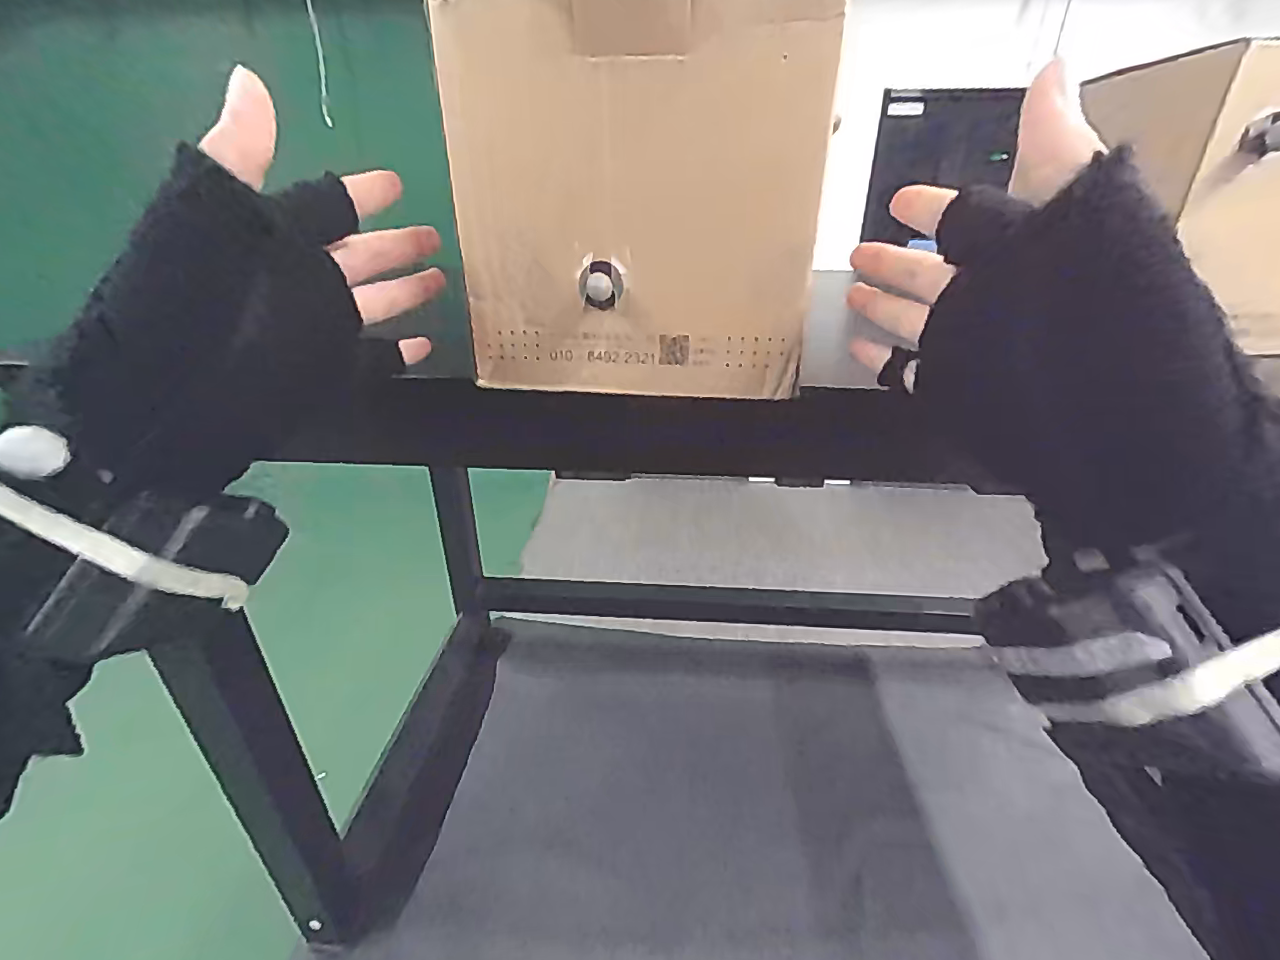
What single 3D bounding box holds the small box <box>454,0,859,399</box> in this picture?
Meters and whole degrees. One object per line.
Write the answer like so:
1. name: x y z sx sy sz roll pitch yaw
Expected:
1. small box: 0.010 -0.157 0.319 0.168 0.176 0.179 3 27 5
